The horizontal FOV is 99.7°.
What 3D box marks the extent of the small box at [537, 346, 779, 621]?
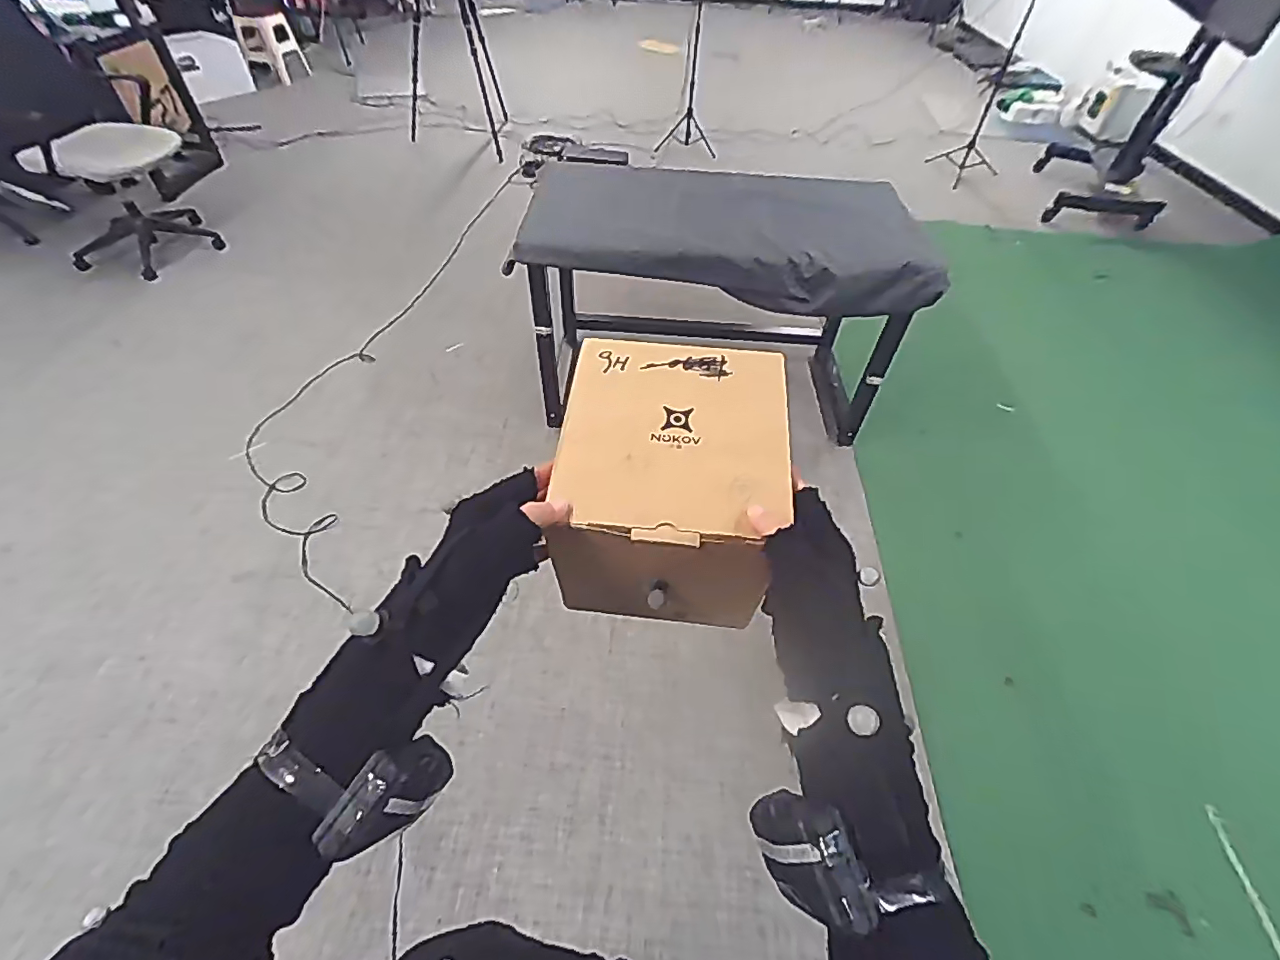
[{"bbox_3d":[0.022,0.011,0.468,0.168,0.176,0.179,5,58,3],"label":"small box"}]
